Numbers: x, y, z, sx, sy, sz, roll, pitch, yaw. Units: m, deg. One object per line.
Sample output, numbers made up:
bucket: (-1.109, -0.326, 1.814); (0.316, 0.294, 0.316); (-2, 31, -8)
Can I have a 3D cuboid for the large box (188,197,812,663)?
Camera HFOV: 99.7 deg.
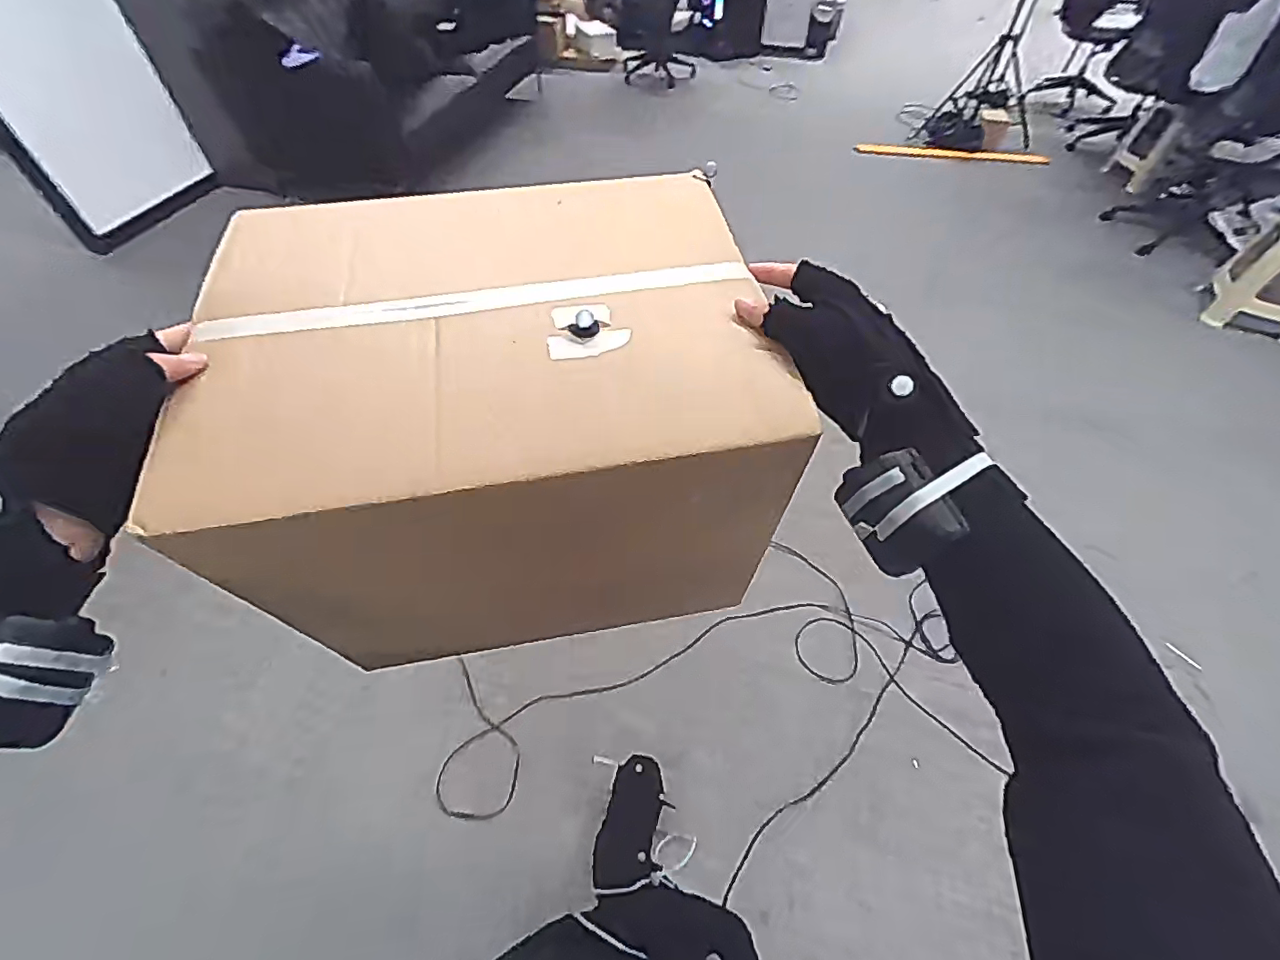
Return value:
large box: (-0.108, -0.042, 0.547); (0.408, 0.320, 0.320); (-8, 58, -7)
